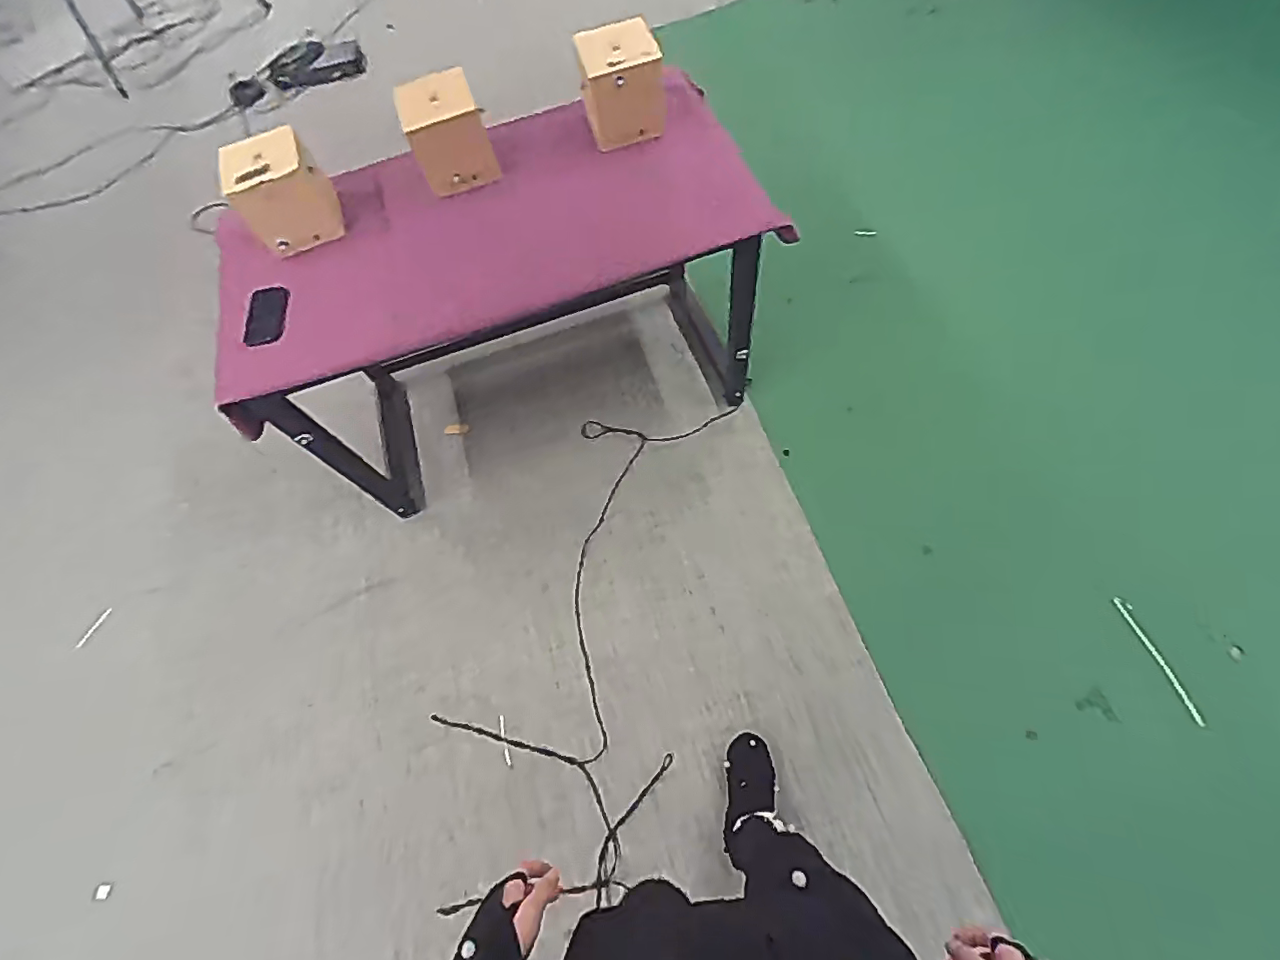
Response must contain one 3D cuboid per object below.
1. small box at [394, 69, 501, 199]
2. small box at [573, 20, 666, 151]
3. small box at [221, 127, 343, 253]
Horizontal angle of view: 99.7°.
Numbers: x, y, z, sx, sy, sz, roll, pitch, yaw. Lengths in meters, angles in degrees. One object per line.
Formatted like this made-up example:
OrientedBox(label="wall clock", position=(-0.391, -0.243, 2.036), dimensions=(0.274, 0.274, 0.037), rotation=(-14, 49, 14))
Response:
OrientedBox(label="small box", position=(-0.439, -0.790, 1.245), dimensions=(0.168, 0.176, 0.179), rotation=(-20, 65, -2))
OrientedBox(label="small box", position=(-0.044, -0.906, 1.250), dimensions=(0.168, 0.176, 0.179), rotation=(-17, 64, 0))
OrientedBox(label="small box", position=(-0.796, -0.640, 1.215), dimensions=(0.168, 0.176, 0.179), rotation=(-22, 63, -4))
